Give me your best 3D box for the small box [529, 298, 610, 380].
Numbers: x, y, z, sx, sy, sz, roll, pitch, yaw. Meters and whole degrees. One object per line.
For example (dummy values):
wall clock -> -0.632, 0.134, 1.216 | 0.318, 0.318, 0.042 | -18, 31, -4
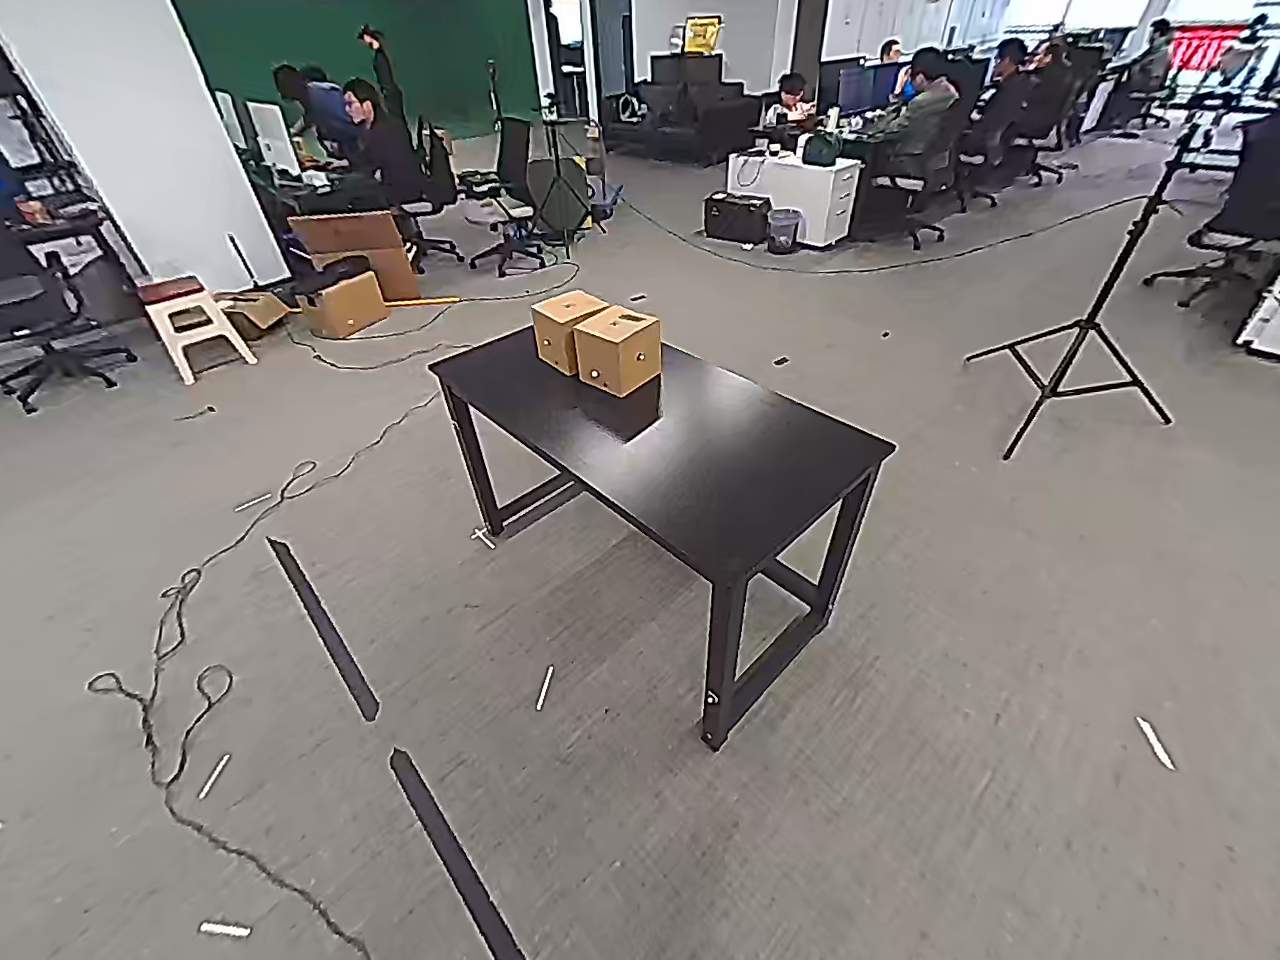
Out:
small box -> -0.206, -0.424, 1.627 | 0.179, 0.176, 0.168 | -31, 48, -29
